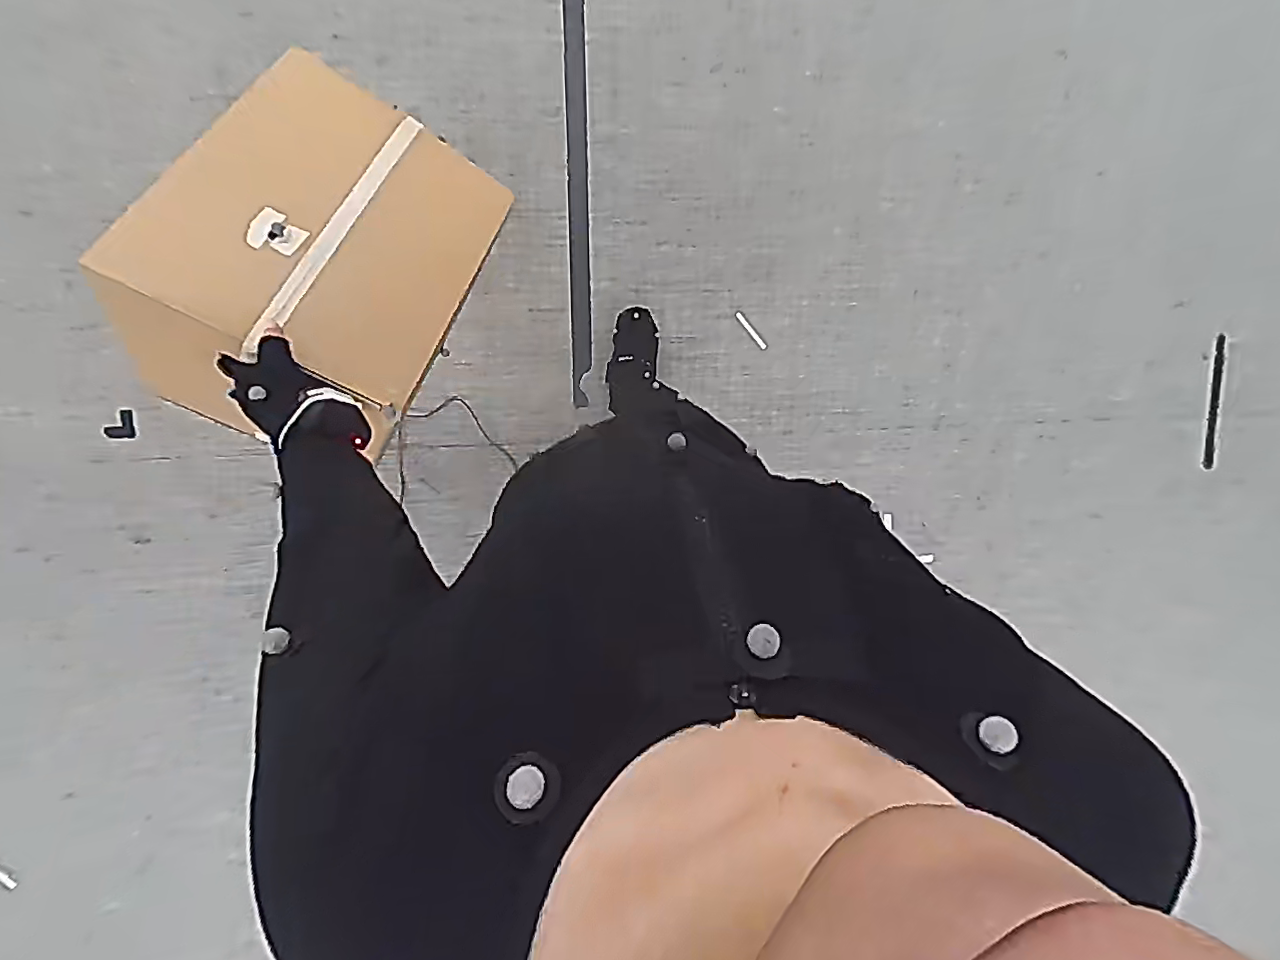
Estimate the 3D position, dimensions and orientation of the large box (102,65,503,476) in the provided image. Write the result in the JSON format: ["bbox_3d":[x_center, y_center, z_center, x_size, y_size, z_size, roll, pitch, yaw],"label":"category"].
[{"bbox_3d":[-0.453,-0.275,0.807,0.320,0.320,0.408,26,63,-22],"label":"large box"}]
